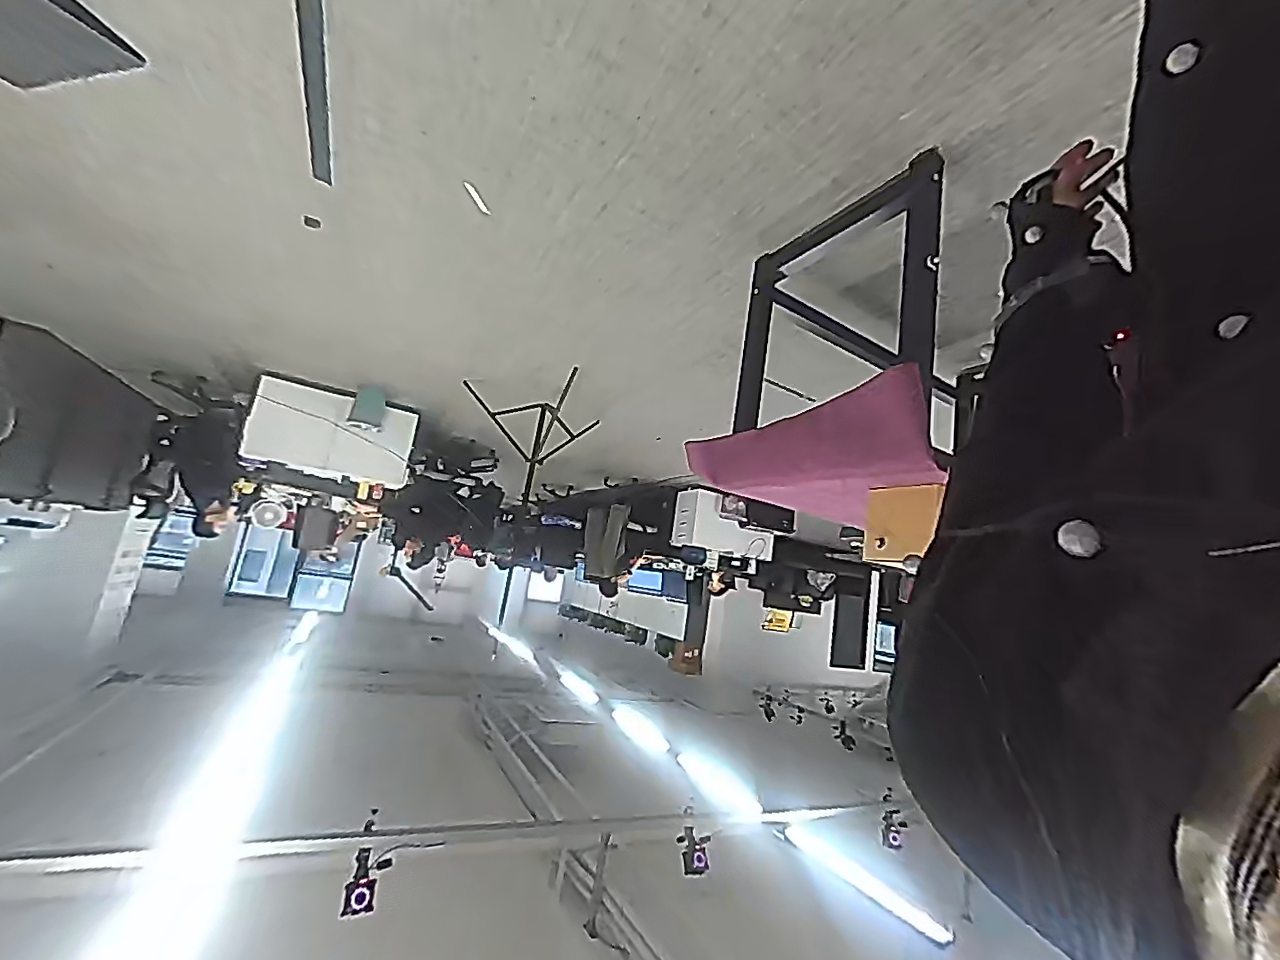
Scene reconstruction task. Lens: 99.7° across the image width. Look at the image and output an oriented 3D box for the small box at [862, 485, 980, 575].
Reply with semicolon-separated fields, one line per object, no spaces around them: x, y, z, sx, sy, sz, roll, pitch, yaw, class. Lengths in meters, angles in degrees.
0.625;0.112;1.202;0.168;0.176;0.179;13;169;-27;small box
